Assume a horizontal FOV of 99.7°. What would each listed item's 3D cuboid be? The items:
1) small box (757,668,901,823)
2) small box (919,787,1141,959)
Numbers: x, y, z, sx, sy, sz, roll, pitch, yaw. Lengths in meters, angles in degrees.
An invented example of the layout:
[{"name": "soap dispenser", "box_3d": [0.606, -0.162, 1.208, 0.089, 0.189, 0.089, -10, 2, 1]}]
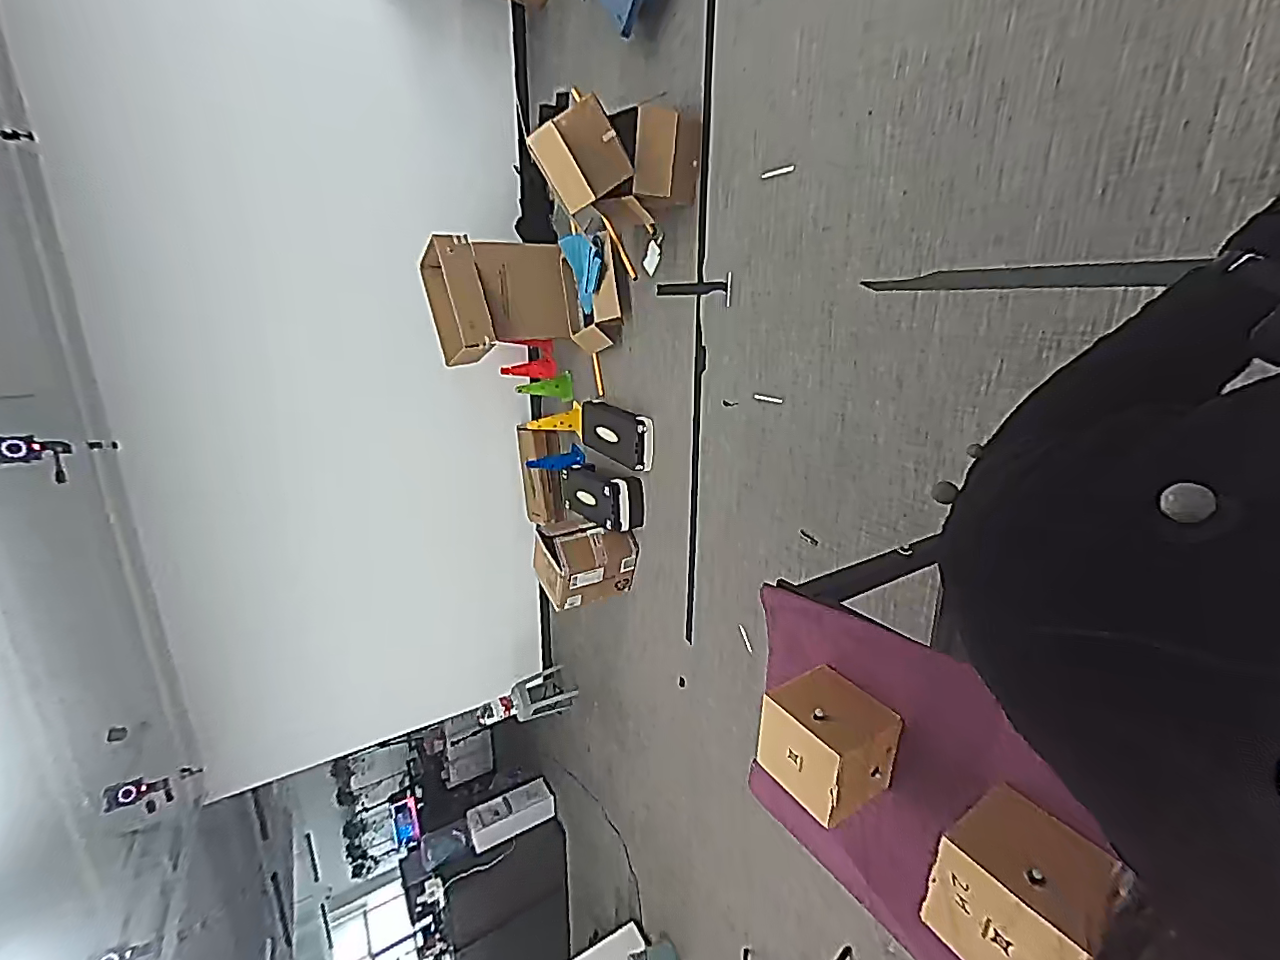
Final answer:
[{"name": "small box", "box_3d": [0.344, 0.474, 1.001, 0.179, 0.176, 0.168, 28, 123, 52]}, {"name": "small box", "box_3d": [0.521, 0.563, 0.729, 0.179, 0.176, 0.168, 29, 122, 53]}]
